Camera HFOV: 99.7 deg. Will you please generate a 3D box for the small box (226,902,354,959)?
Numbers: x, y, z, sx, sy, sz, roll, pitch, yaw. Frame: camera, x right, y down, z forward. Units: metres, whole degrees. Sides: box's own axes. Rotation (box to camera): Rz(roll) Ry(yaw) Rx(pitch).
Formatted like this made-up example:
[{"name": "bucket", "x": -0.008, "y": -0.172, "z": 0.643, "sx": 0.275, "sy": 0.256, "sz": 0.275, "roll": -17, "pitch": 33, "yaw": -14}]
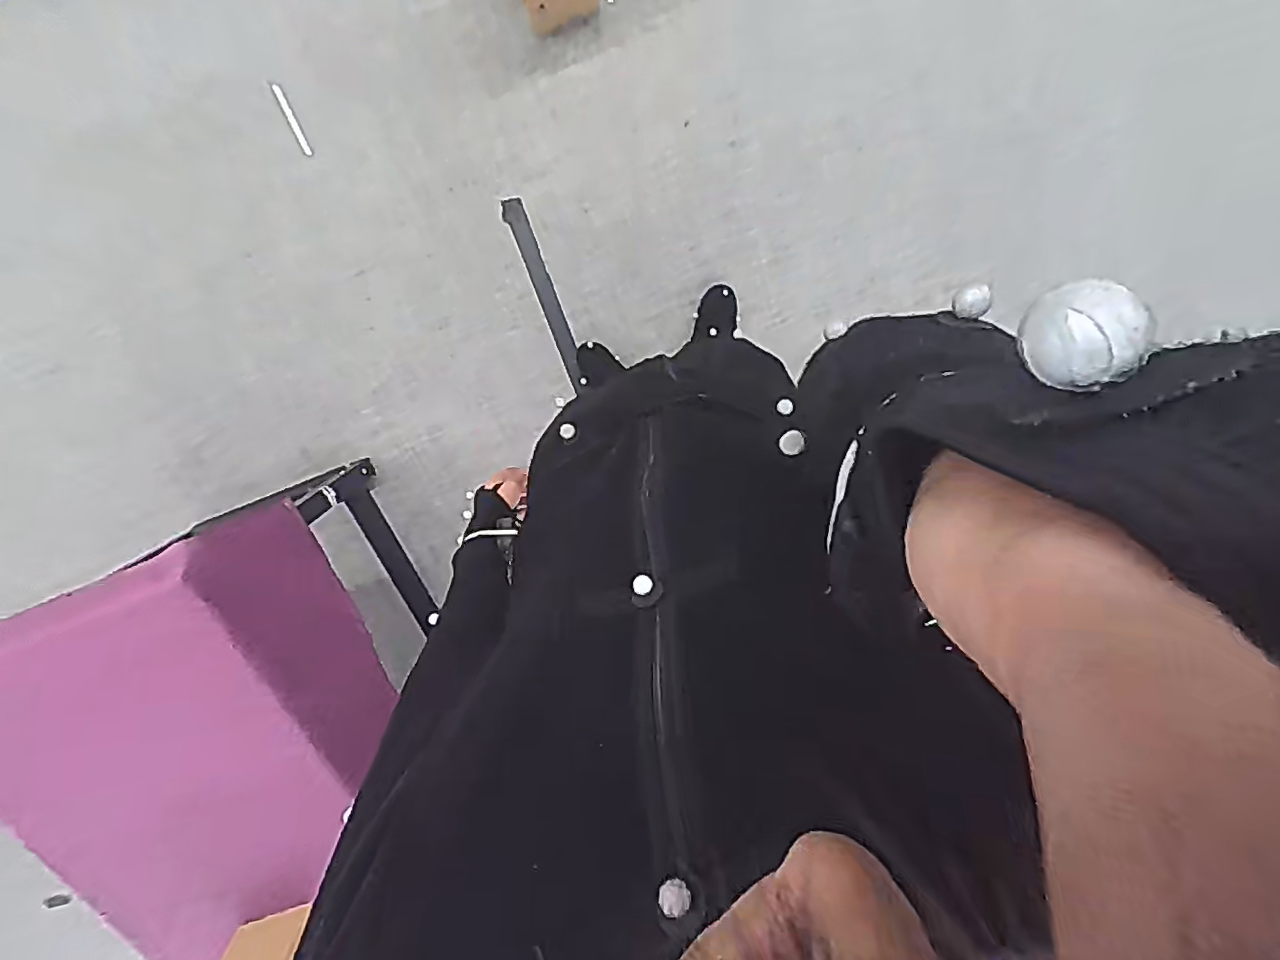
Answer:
[{"name": "small box", "x": -0.709, "y": 0.986, "z": 1.062, "sx": 0.179, "sy": 0.176, "sz": 0.168, "roll": -21, "pitch": 109, "yaw": 3}]
